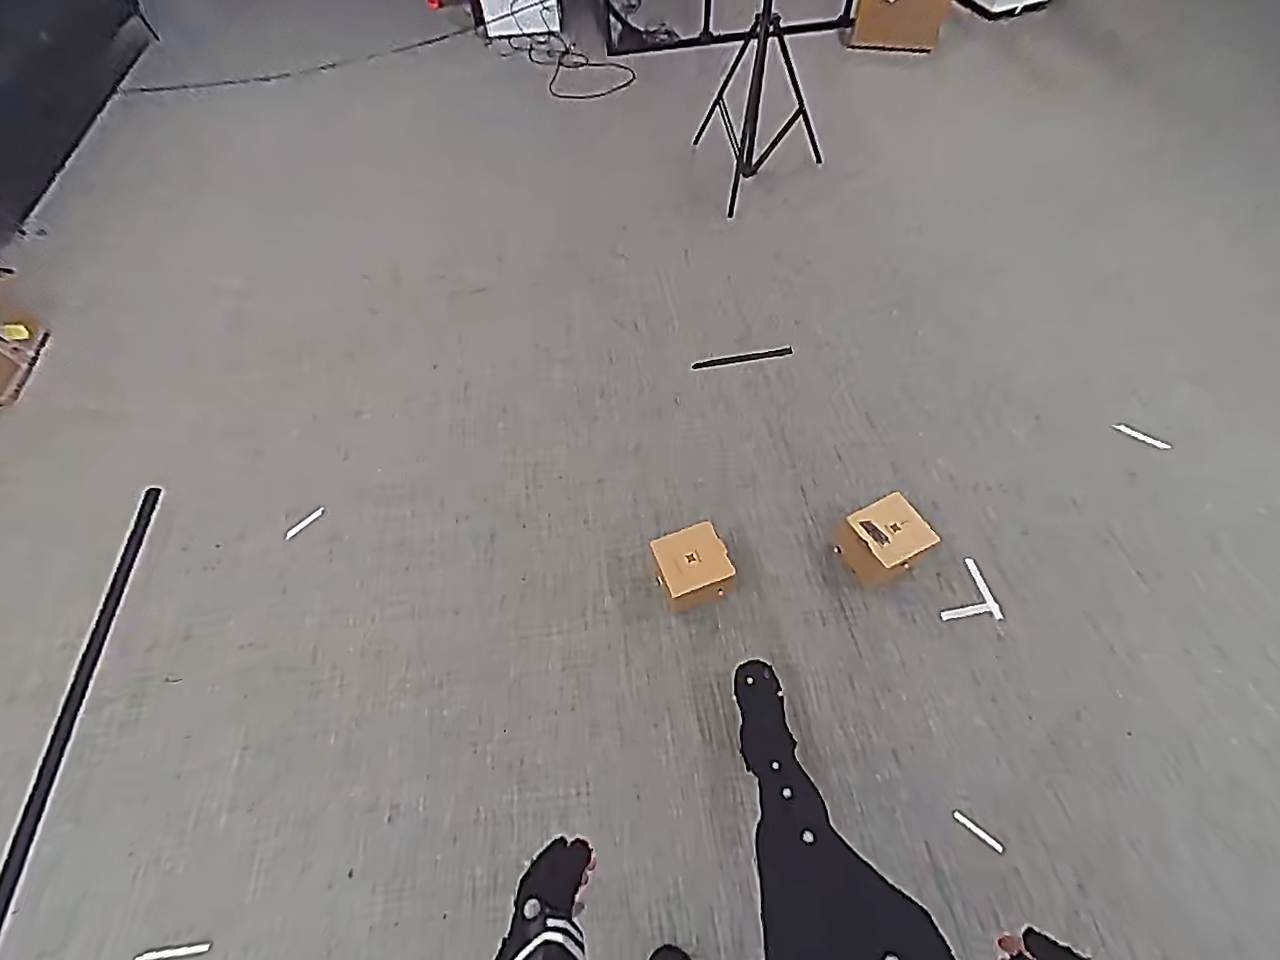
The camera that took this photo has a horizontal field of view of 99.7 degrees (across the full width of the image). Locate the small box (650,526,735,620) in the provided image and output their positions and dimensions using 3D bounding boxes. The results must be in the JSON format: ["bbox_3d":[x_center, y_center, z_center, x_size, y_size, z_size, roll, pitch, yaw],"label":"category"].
[{"bbox_3d":[0.135,0.253,1.449,0.179,0.176,0.168,-20,59,-8],"label":"small box"}]

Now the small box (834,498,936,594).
[{"bbox_3d":[0.648,0.184,1.462,0.179,0.176,0.168,-24,61,-11],"label":"small box"}]
